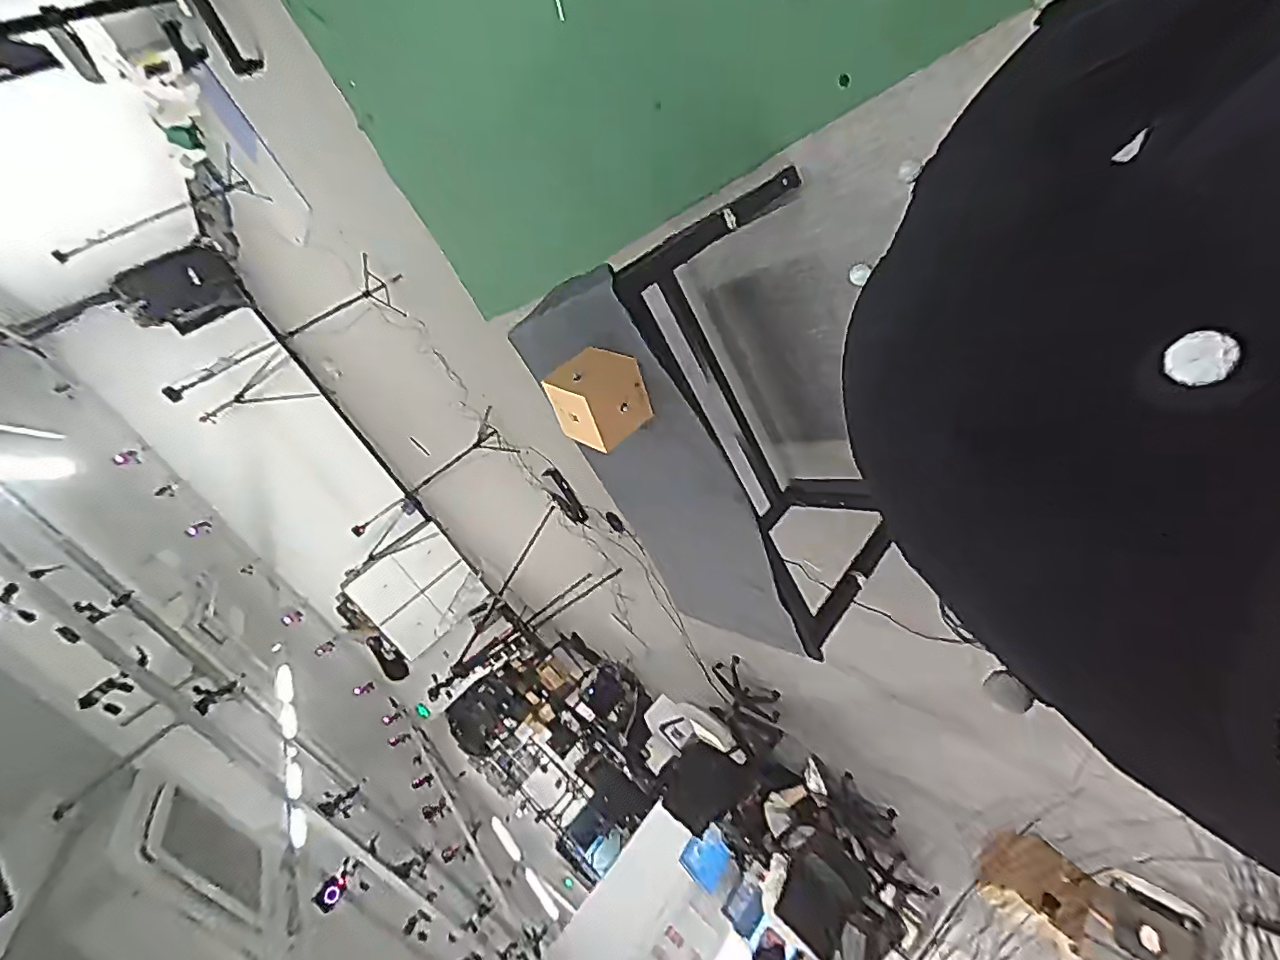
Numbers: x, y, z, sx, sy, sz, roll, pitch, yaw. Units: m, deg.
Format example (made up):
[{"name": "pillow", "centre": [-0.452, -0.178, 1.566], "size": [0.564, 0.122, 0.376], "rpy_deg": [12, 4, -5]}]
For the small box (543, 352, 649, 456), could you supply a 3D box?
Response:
[{"name": "small box", "centre": [-0.097, -0.191, 1.312], "size": [0.179, 0.176, 0.168], "rpy_deg": [26, 146, 41]}]
